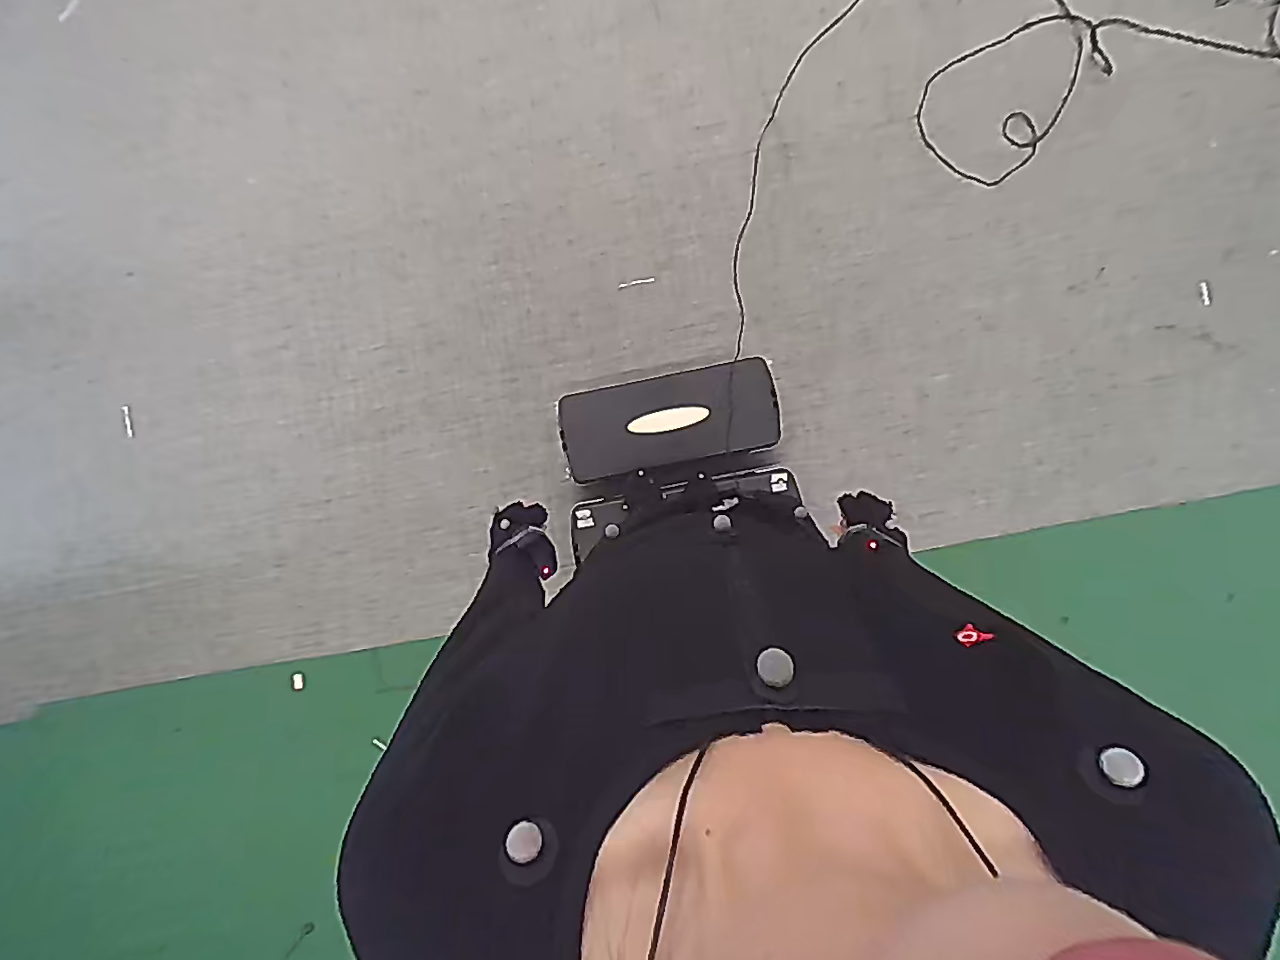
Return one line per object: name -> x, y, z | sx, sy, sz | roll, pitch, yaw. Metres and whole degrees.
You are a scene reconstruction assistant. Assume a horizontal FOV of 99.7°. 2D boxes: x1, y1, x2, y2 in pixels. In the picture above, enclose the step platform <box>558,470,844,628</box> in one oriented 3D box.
step platform -> 0.145, 0.172, 1.394 | 0.684, 0.204, 0.286 | -11, 89, 2
